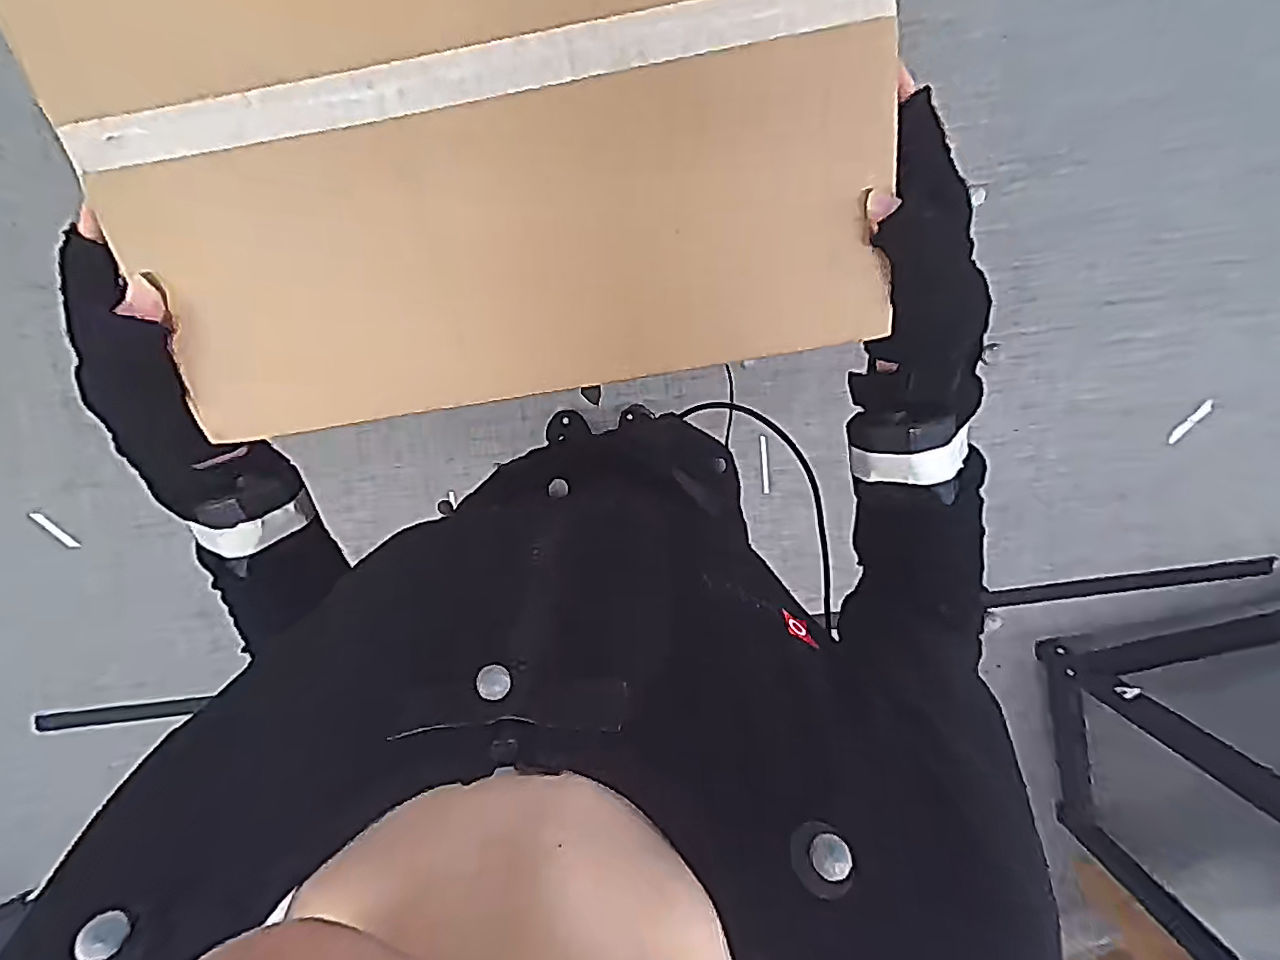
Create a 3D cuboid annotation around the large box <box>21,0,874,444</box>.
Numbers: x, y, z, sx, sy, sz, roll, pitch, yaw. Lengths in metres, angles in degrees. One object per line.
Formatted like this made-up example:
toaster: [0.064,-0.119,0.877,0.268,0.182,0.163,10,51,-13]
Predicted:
large box: [-0.083,-0.249,0.407,0.408,0.320,0.320,-9,111,3]
